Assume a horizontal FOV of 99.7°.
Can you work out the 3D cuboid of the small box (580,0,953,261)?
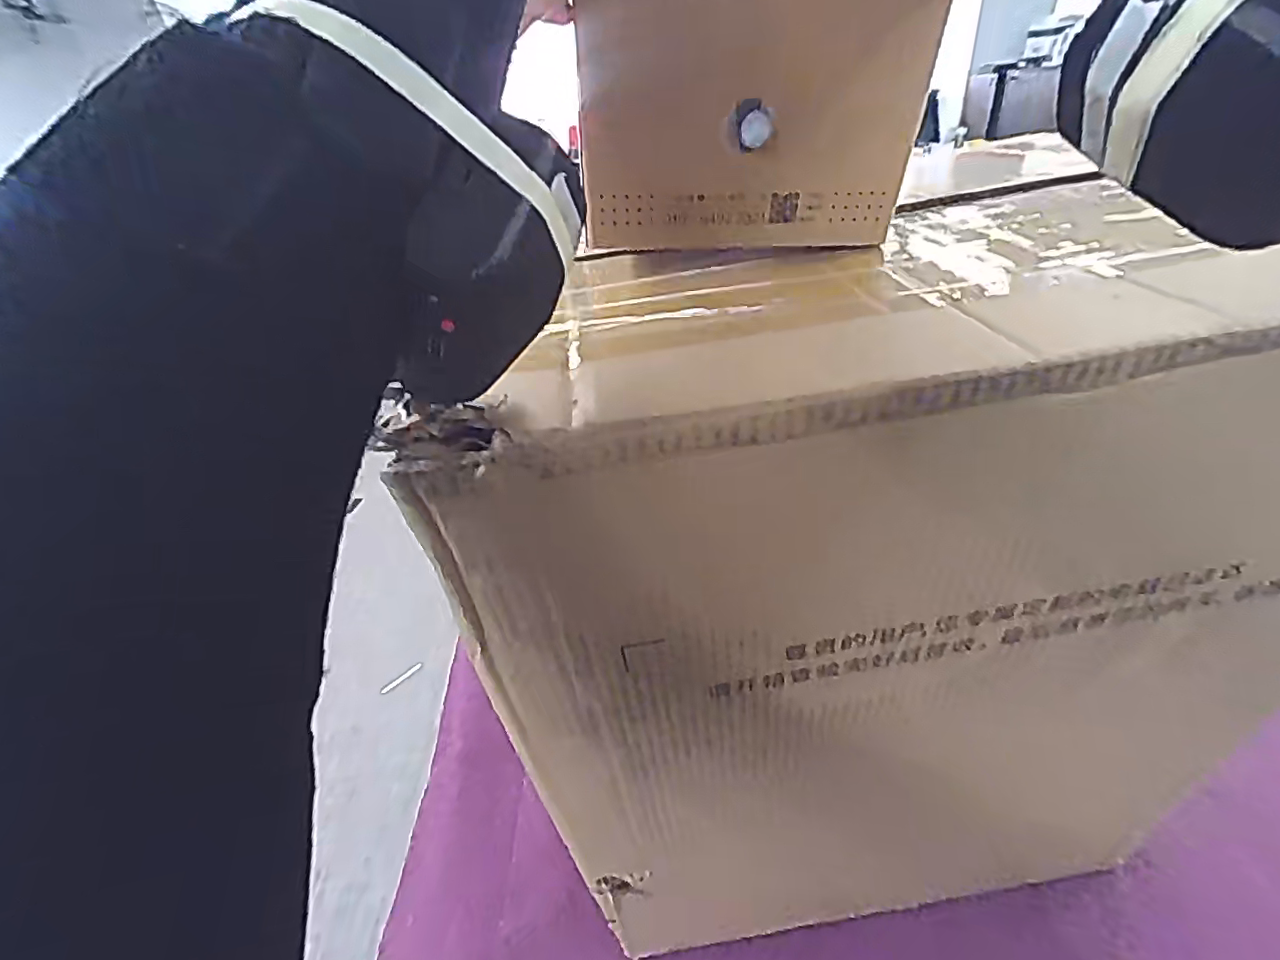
[{"bbox_3d":[0.051,-0.240,0.314,0.168,0.176,0.179,-2,40,-2],"label":"small box"}]
